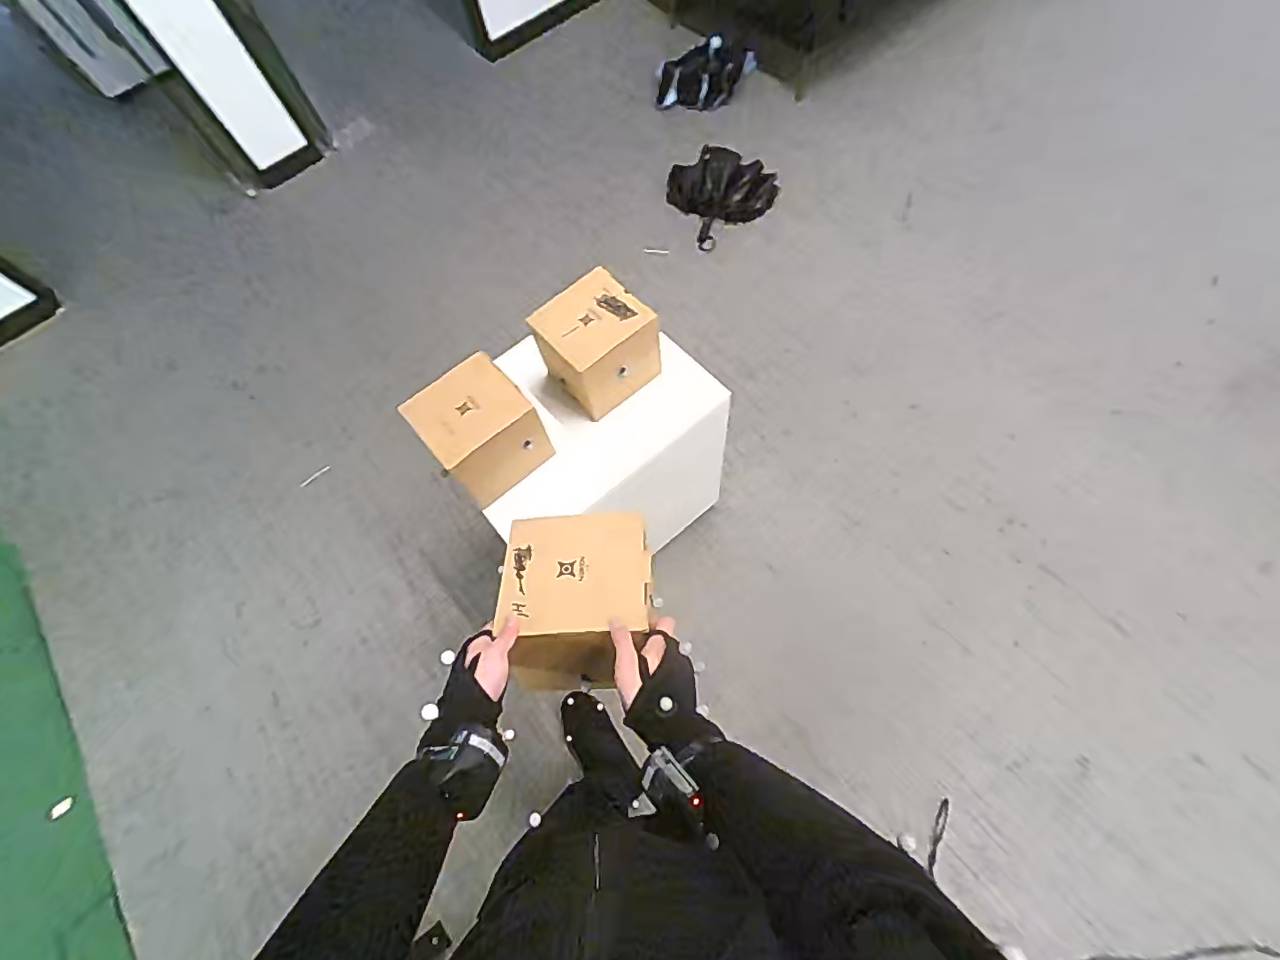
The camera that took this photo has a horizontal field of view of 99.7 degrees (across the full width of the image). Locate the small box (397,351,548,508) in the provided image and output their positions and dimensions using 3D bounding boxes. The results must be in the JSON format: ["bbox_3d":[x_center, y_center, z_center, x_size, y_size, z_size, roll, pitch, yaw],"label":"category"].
[{"bbox_3d":[-0.280,-0.084,0.952,0.179,0.176,0.168,-40,67,-14],"label":"small box"}]

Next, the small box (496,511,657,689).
[{"bbox_3d":[-0.067,0.156,0.693,0.179,0.176,0.168,-1,47,1],"label":"small box"}]

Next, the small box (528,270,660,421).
[{"bbox_3d":[-0.078,-0.246,1.013,0.179,0.176,0.168,-38,68,-12],"label":"small box"}]
